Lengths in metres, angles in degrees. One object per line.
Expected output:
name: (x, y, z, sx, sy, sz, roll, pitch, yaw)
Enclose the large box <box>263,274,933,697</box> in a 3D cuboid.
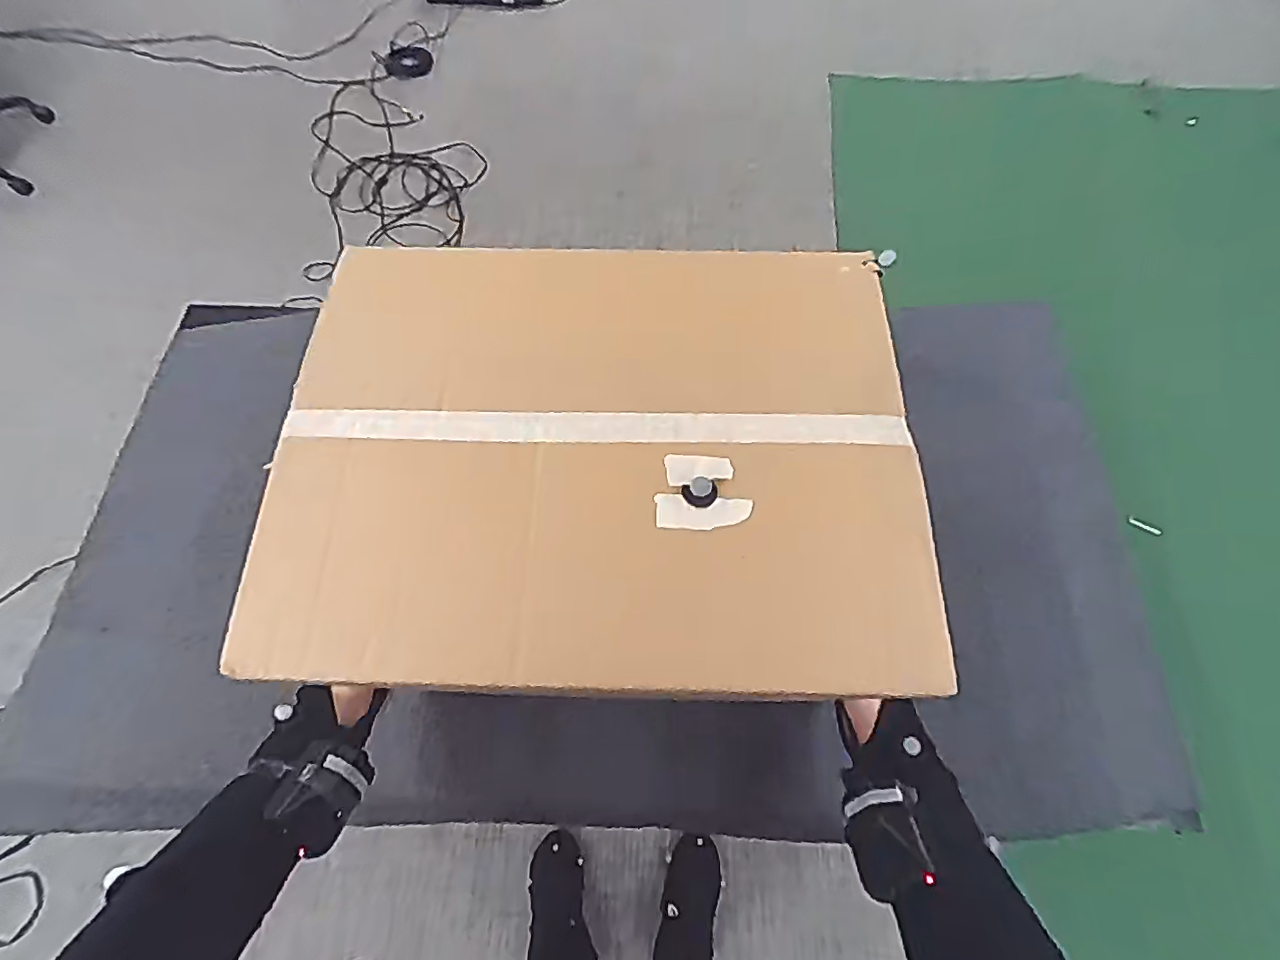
large box: (-0.025, 0.035, 0.510, 0.408, 0.320, 0.320, 1, 68, 0)
